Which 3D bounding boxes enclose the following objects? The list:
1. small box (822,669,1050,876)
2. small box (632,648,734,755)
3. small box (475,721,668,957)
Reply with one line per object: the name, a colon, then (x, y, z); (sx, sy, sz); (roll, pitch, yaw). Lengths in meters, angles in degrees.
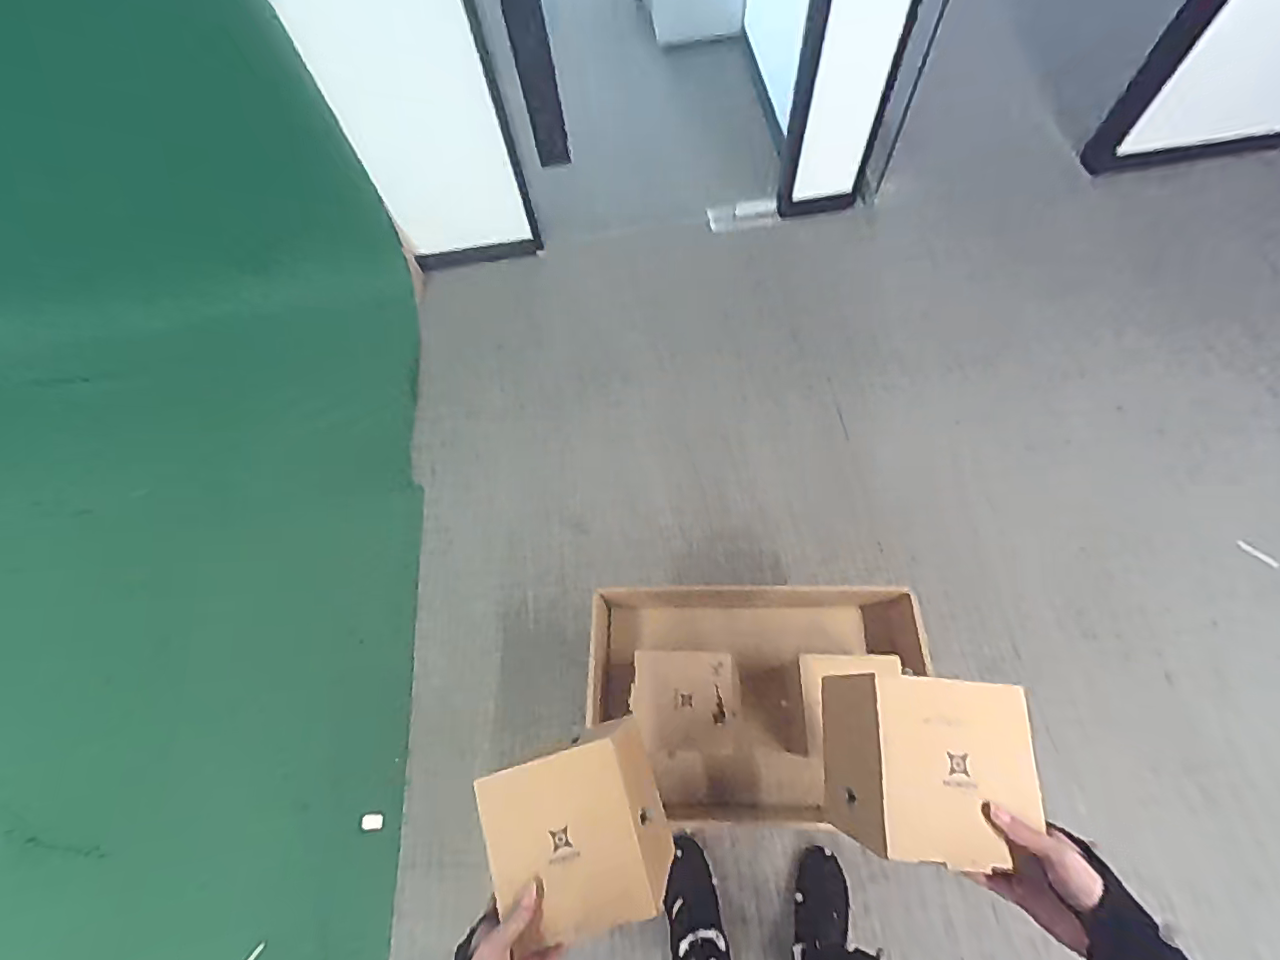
small box: (0.319, 0.319, 0.622); (0.168, 0.176, 0.179); (6, 68, 0)
small box: (0.085, 0.417, 1.011); (0.179, 0.176, 0.168); (1, 64, 7)
small box: (-0.073, 0.403, 0.646); (0.168, 0.176, 0.179); (-19, 73, 3)
